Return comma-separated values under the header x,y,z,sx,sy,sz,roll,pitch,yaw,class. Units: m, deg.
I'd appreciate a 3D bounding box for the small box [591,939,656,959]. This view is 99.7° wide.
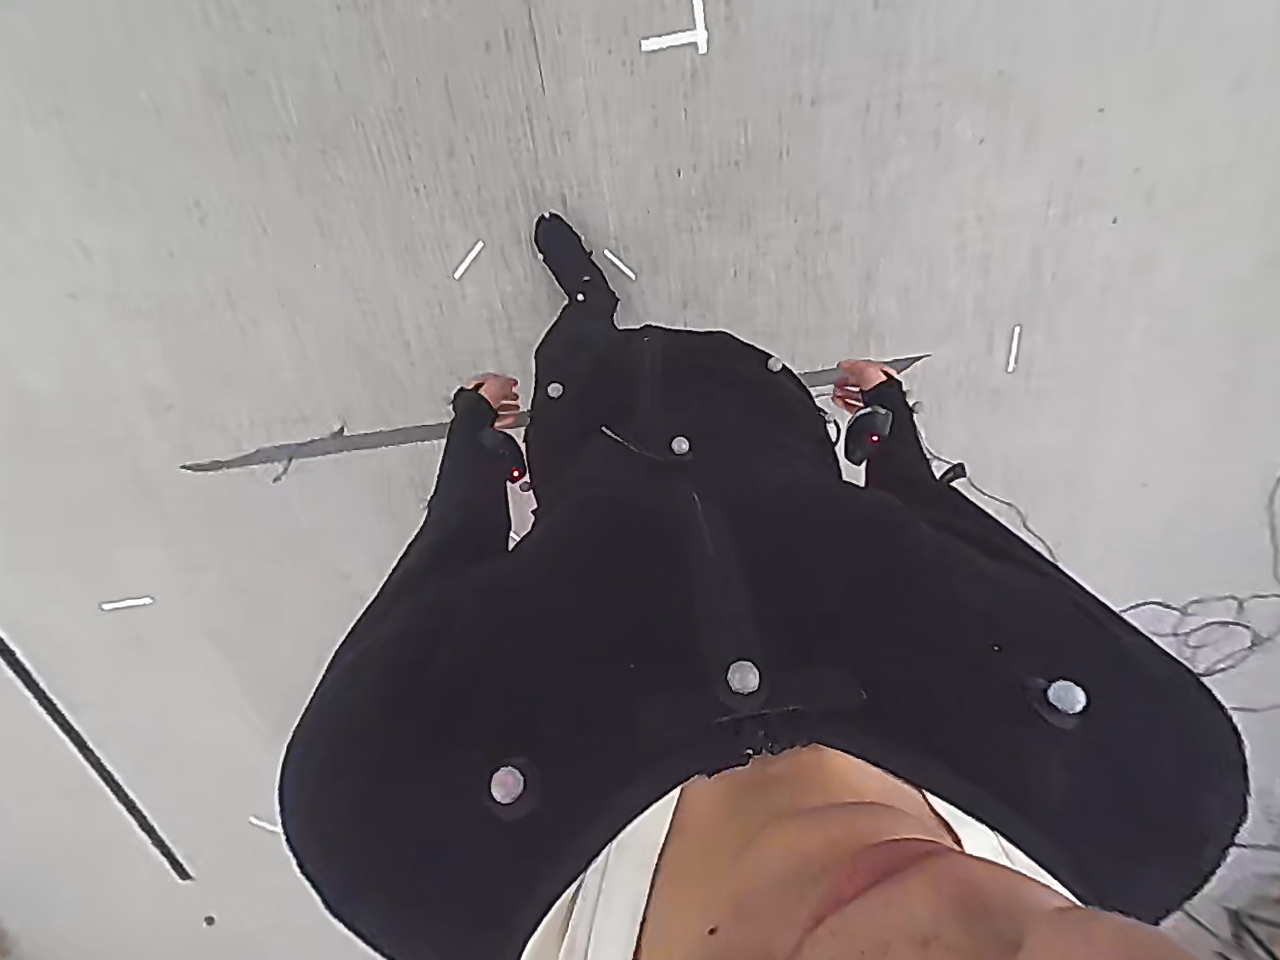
x,y,z,sx,sy,sz,roll,pitch,yaw,class
-0.037,1.334,1.392,0.179,0.176,0.168,-8,112,-2,small box
